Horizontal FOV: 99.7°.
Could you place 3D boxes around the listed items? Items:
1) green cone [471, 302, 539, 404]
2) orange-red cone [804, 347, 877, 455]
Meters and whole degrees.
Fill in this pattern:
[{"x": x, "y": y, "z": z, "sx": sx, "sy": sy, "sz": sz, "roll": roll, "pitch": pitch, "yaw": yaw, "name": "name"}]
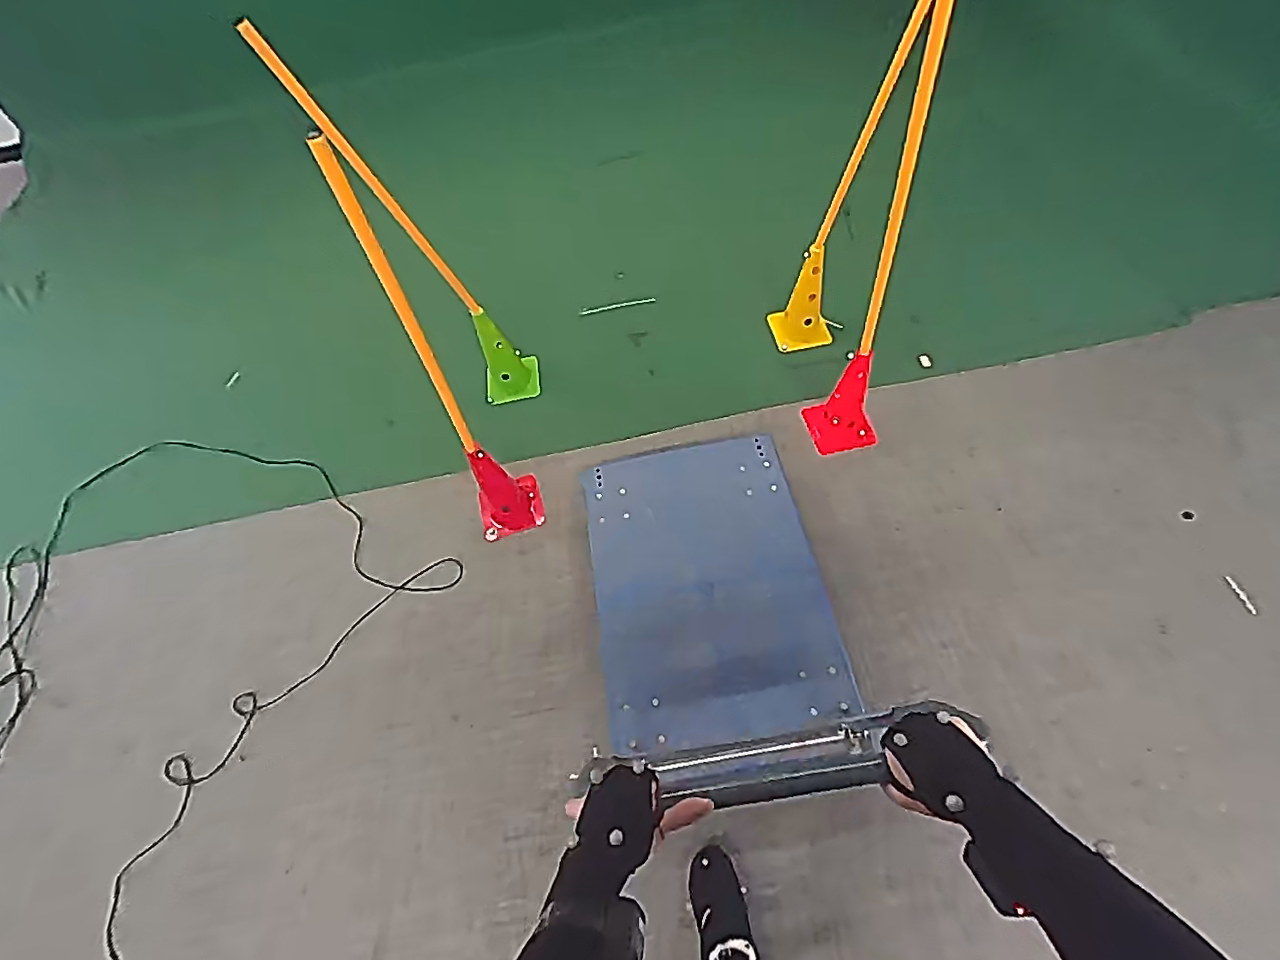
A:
[{"x": -0.502, "y": -0.465, "z": 1.896, "sx": 0.200, "sy": 0.368, "sz": 0.202, "roll": -12, "pitch": 58, "yaw": 1, "name": "green cone"}, {"x": 0.643, "y": -0.264, "z": 1.641, "sx": 0.198, "sy": 0.360, "sz": 0.199, "roll": -11, "pitch": 57, "yaw": 0, "name": "orange-red cone"}]
